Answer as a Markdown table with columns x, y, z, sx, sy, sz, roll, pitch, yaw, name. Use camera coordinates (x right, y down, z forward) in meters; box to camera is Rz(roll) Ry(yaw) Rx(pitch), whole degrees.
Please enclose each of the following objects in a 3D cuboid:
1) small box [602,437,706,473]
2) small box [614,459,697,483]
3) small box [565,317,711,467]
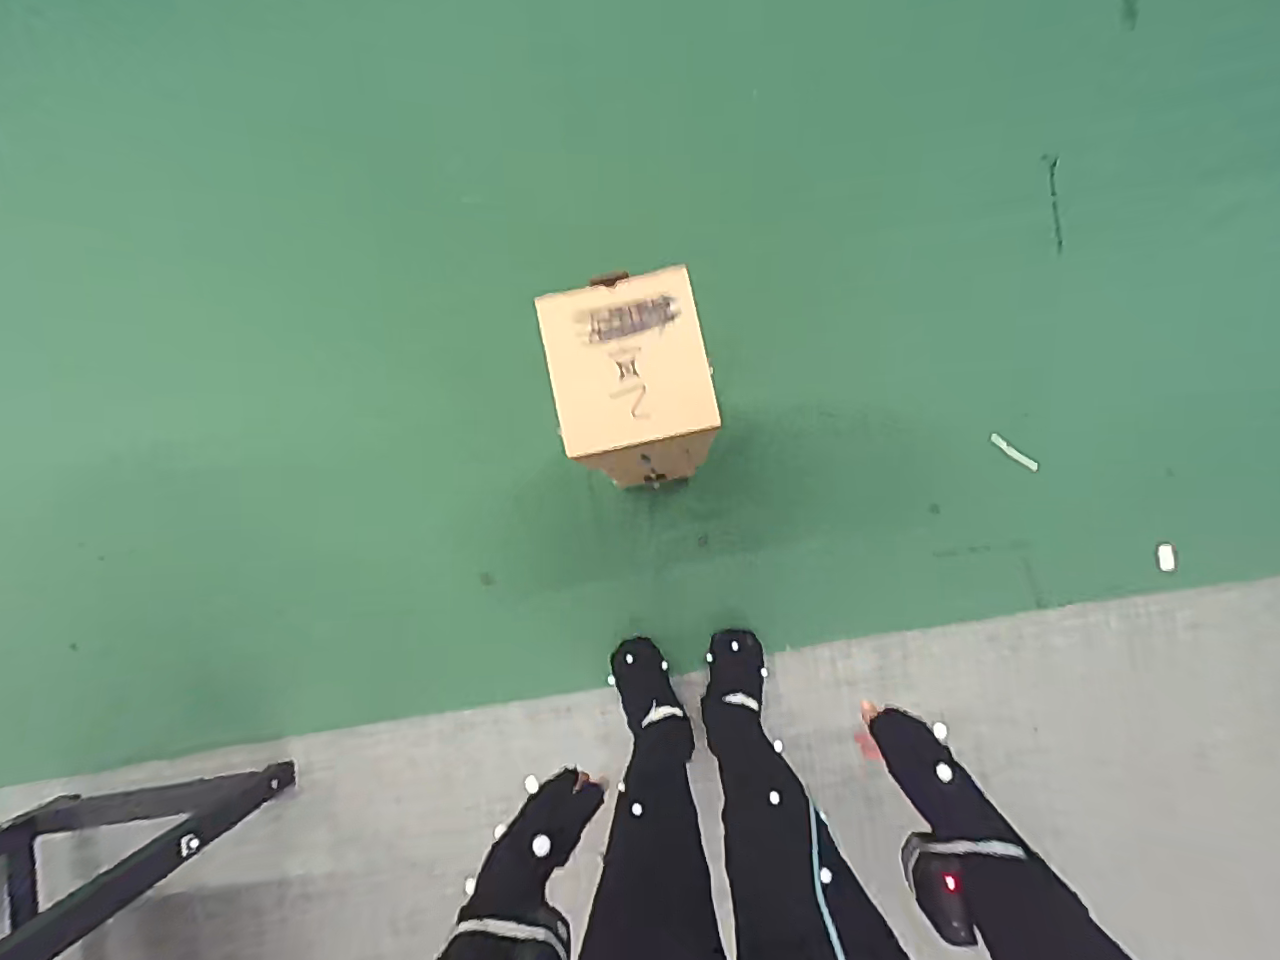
| x | y | z | sx | sy | sz | roll | pitch | yaw | name |
| --- | --- | --- | --- | --- | --- | --- | --- | --- | --- |
| 0.015 | -0.110 | 0.963 | 0.179 | 0.176 | 0.168 | -8 | 85 | 3 | small box |
| 0.021 | -0.096 | 1.129 | 0.168 | 0.176 | 0.179 | -11 | 86 | 4 | small box |
| 0.001 | -0.119 | 0.804 | 0.179 | 0.176 | 0.168 | -12 | 86 | 2 | small box |
